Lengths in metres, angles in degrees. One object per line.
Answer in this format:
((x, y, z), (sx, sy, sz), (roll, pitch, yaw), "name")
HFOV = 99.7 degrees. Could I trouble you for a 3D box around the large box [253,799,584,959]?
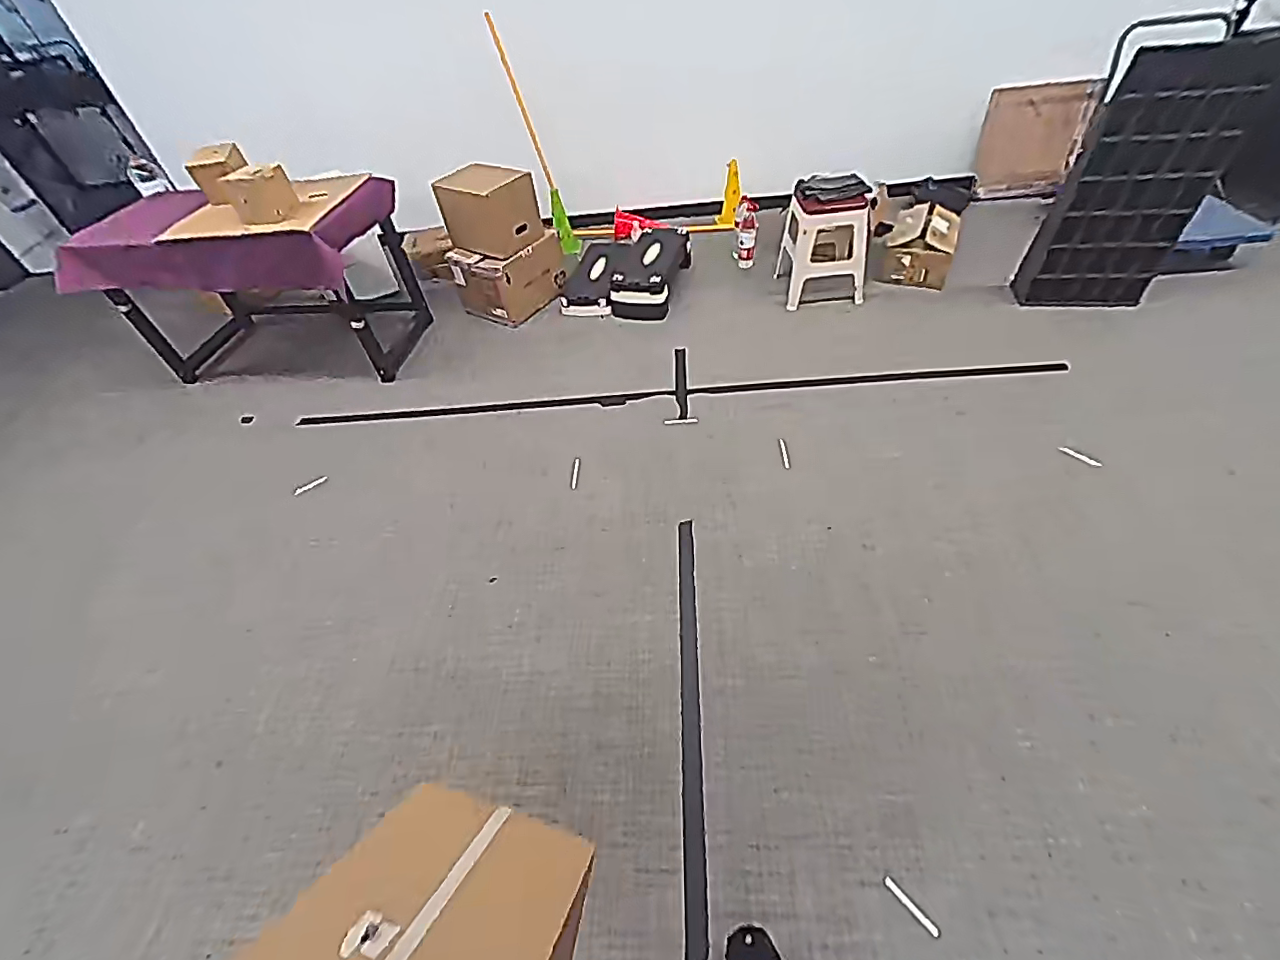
((-0.299, 0.717, 0.699), (0.320, 0.408, 0.320), (11, 93, 11), "large box")
